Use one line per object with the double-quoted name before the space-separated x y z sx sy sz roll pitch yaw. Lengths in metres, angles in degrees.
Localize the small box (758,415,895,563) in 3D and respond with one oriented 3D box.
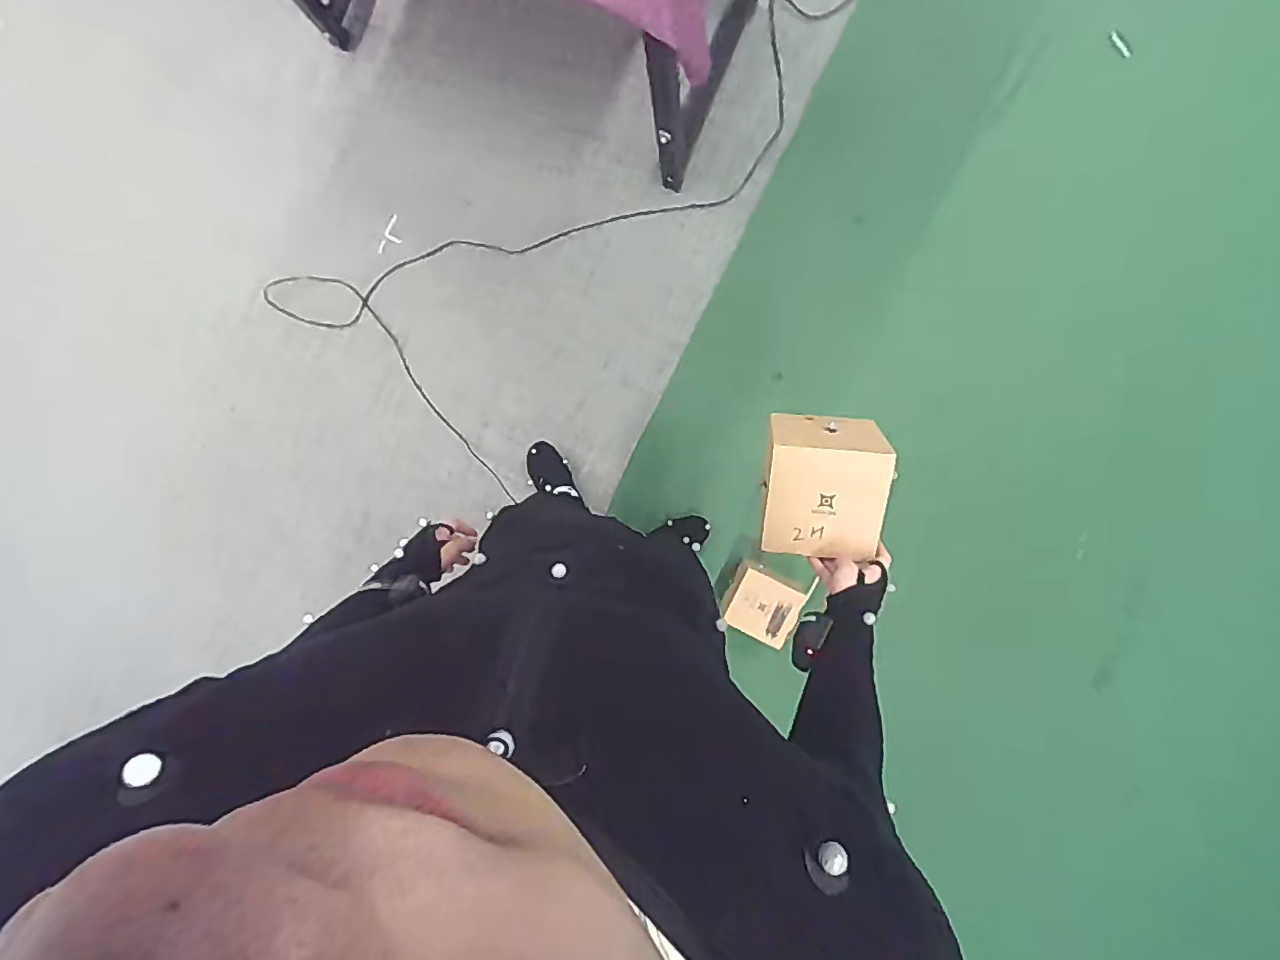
"small box" 0.277 0.004 0.844 0.168 0.176 0.179 6 114 10
